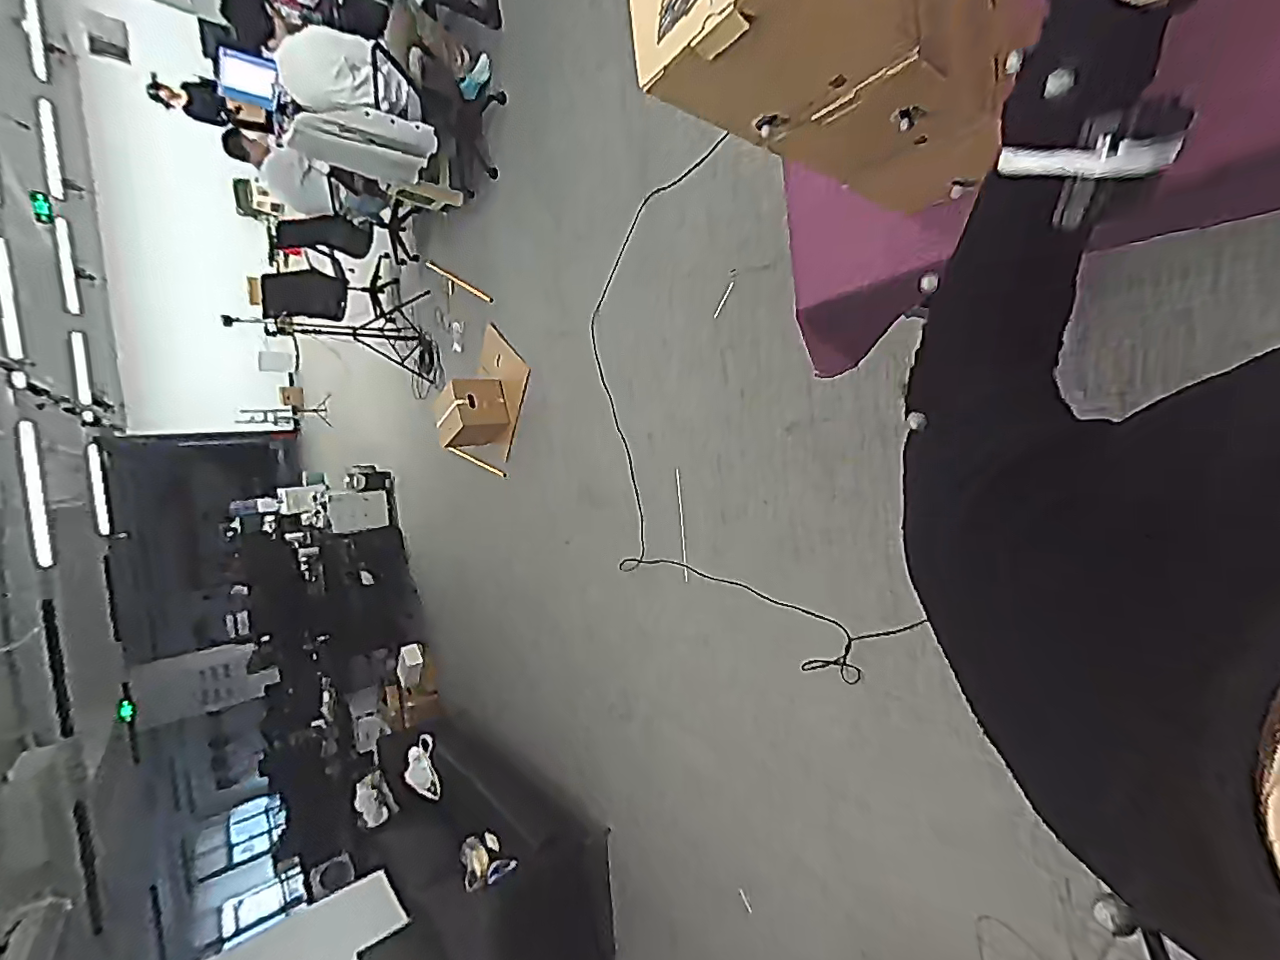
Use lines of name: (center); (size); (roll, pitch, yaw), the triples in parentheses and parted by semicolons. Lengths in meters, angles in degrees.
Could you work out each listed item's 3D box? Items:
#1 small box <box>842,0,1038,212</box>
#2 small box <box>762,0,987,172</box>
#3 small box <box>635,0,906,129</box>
small box: (0.368, -0.459, 0.666); (0.179, 0.176, 0.168); (-1, 94, 51)
small box: (0.241, -0.449, 0.563); (0.168, 0.176, 0.179); (2, 96, 51)
small box: (0.109, -0.439, 0.464); (0.168, 0.176, 0.179); (-4, 91, 51)
